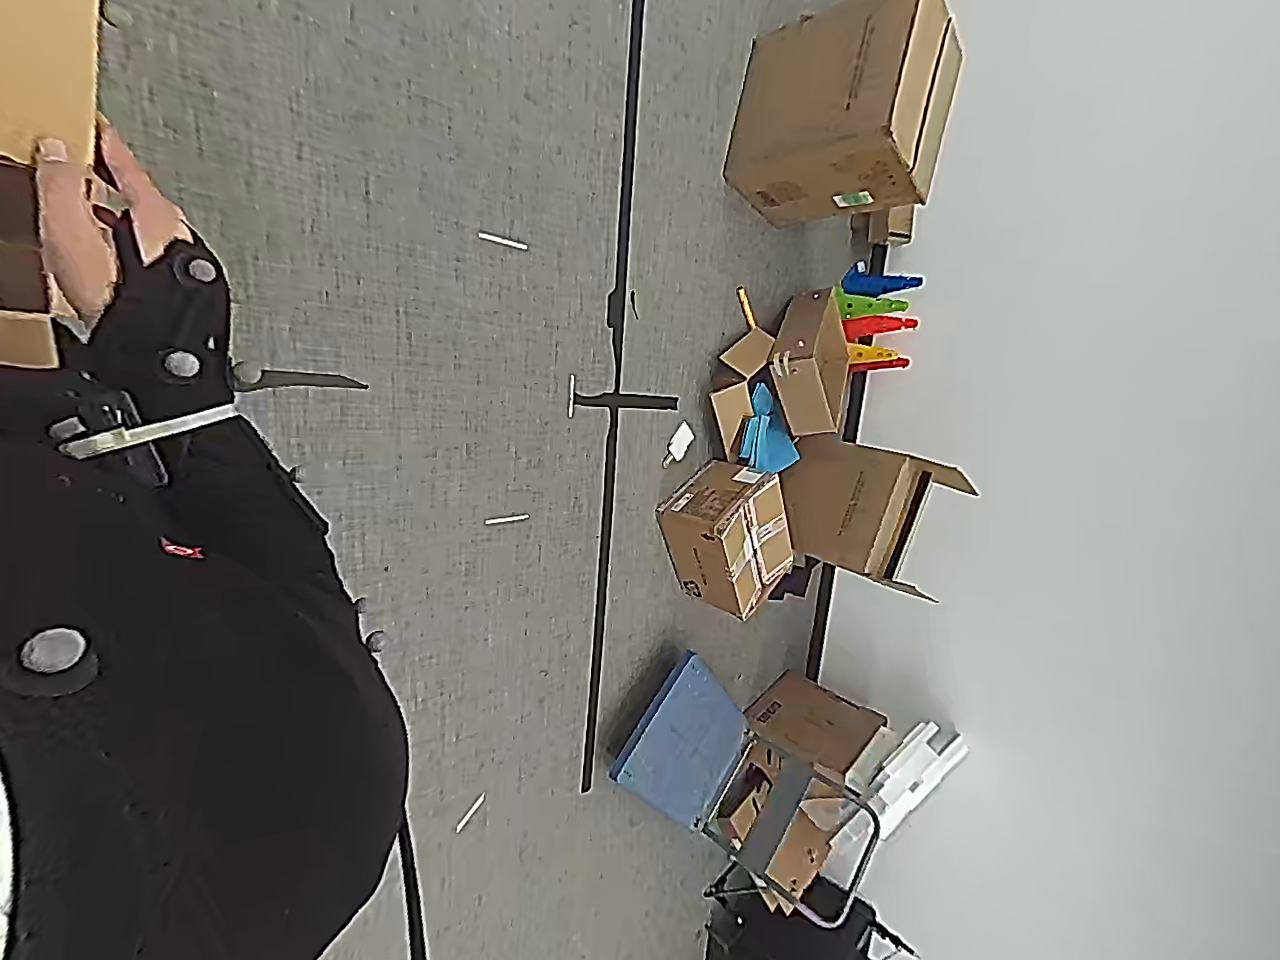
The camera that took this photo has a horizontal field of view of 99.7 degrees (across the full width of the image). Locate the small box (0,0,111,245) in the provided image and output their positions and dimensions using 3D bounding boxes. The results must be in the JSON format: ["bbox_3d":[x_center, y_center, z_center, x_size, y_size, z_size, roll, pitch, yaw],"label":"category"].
[{"bbox_3d":[-0.420,-0.260,0.298,0.168,0.176,0.179,3,89,-51],"label":"small box"}]
